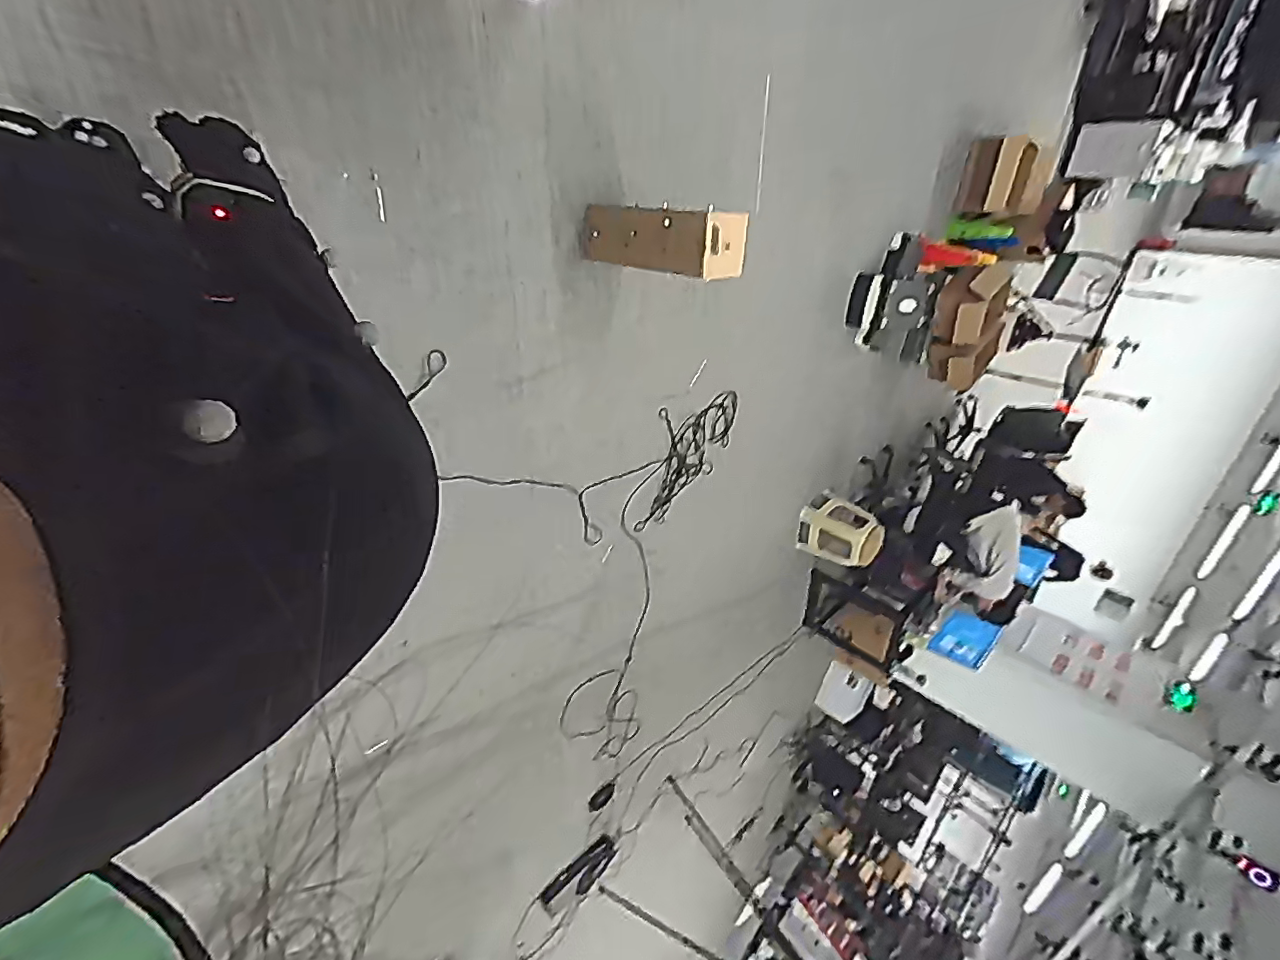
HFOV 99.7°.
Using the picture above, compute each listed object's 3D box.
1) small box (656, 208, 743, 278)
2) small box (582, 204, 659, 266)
[{"bbox_3d":[0.162,-0.666,1.519,0.179,0.176,0.168,-21,127,-39],"label":"small box"},{"bbox_3d":[-0.063,-0.782,1.725,0.179,0.176,0.168,-19,124,-40],"label":"small box"}]
